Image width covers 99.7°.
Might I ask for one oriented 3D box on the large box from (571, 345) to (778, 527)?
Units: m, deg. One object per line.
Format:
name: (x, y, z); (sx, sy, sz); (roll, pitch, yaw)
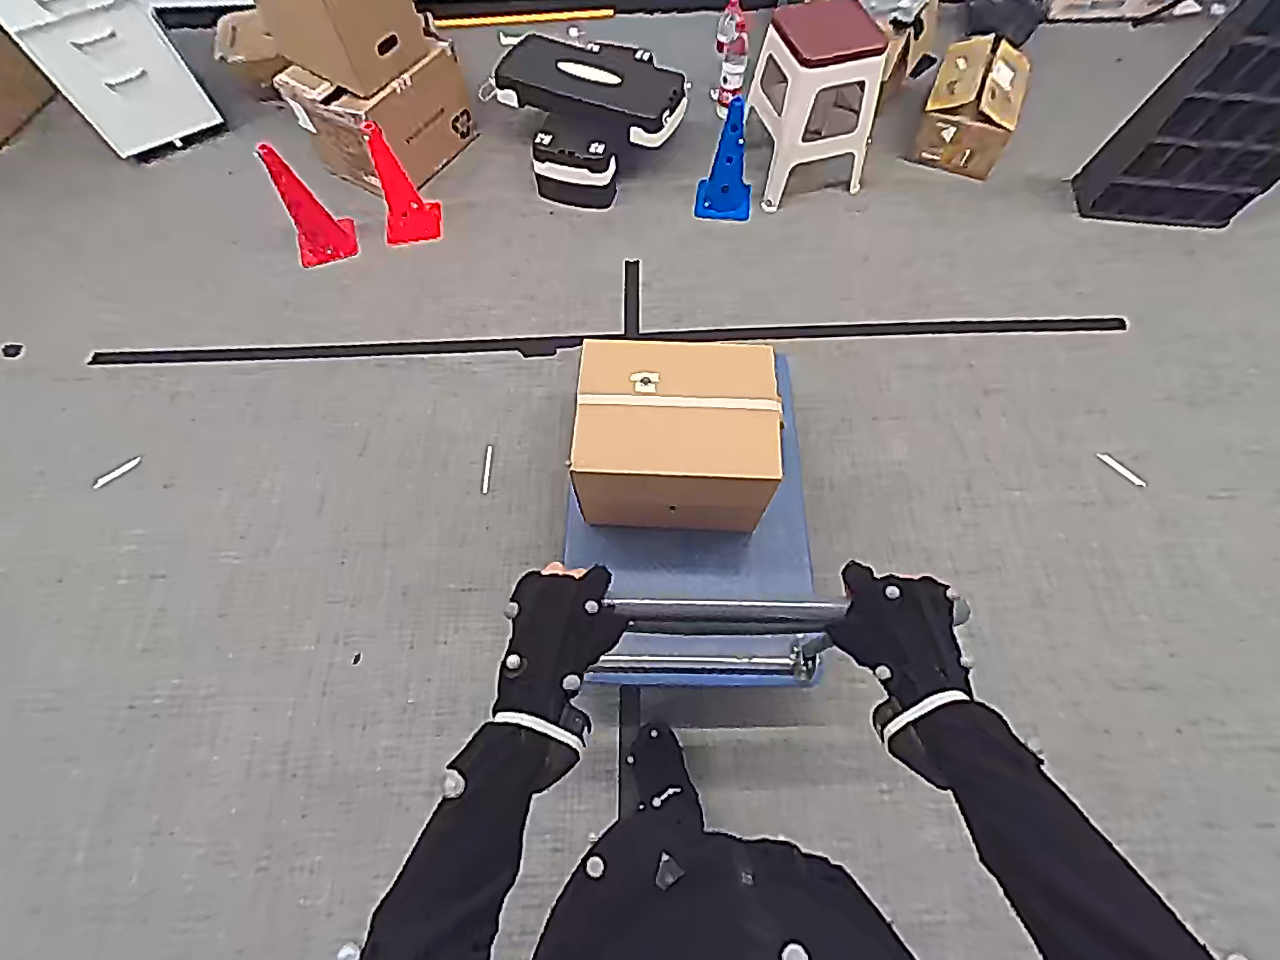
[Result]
large box: (0.075, -0.087, 1.225); (0.408, 0.320, 0.320); (2, 66, 2)
